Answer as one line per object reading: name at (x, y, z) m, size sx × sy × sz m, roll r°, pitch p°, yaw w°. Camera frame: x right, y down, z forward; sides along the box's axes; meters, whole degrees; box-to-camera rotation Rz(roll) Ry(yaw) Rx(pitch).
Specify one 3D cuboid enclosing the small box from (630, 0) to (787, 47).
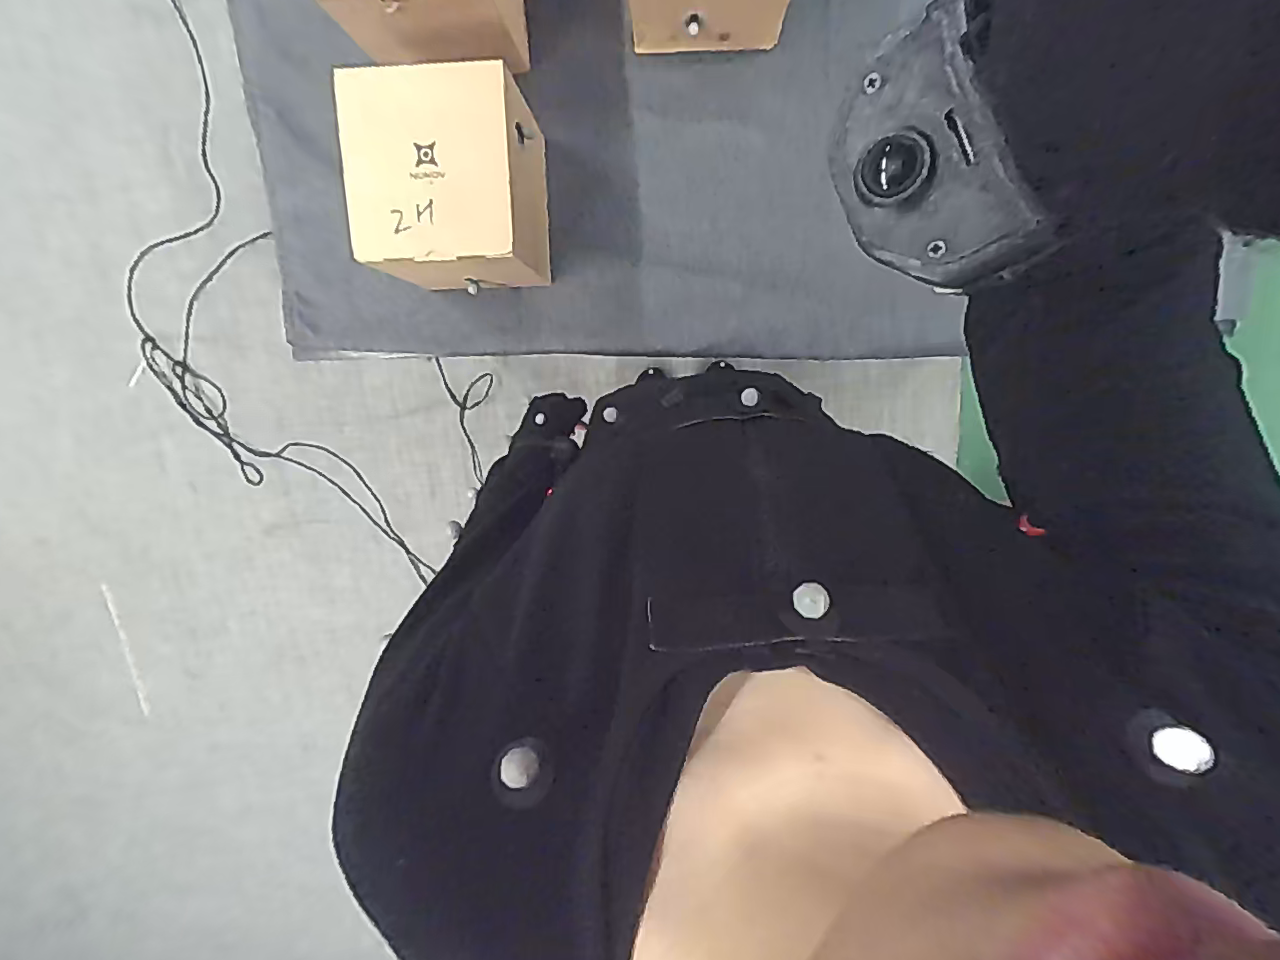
small box at (0.070, -0.573, 0.534) m, size 0.168 × 0.176 × 0.179 m, roll 0°, pitch 103°, yaw 3°

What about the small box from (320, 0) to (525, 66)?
small box at (-0.222, -0.554, 0.551) m, size 0.168 × 0.176 × 0.179 m, roll -2°, pitch 102°, yaw 3°

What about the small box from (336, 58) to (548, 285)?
small box at (-0.202, -0.323, 0.600) m, size 0.168 × 0.176 × 0.179 m, roll 0°, pitch 101°, yaw 3°
